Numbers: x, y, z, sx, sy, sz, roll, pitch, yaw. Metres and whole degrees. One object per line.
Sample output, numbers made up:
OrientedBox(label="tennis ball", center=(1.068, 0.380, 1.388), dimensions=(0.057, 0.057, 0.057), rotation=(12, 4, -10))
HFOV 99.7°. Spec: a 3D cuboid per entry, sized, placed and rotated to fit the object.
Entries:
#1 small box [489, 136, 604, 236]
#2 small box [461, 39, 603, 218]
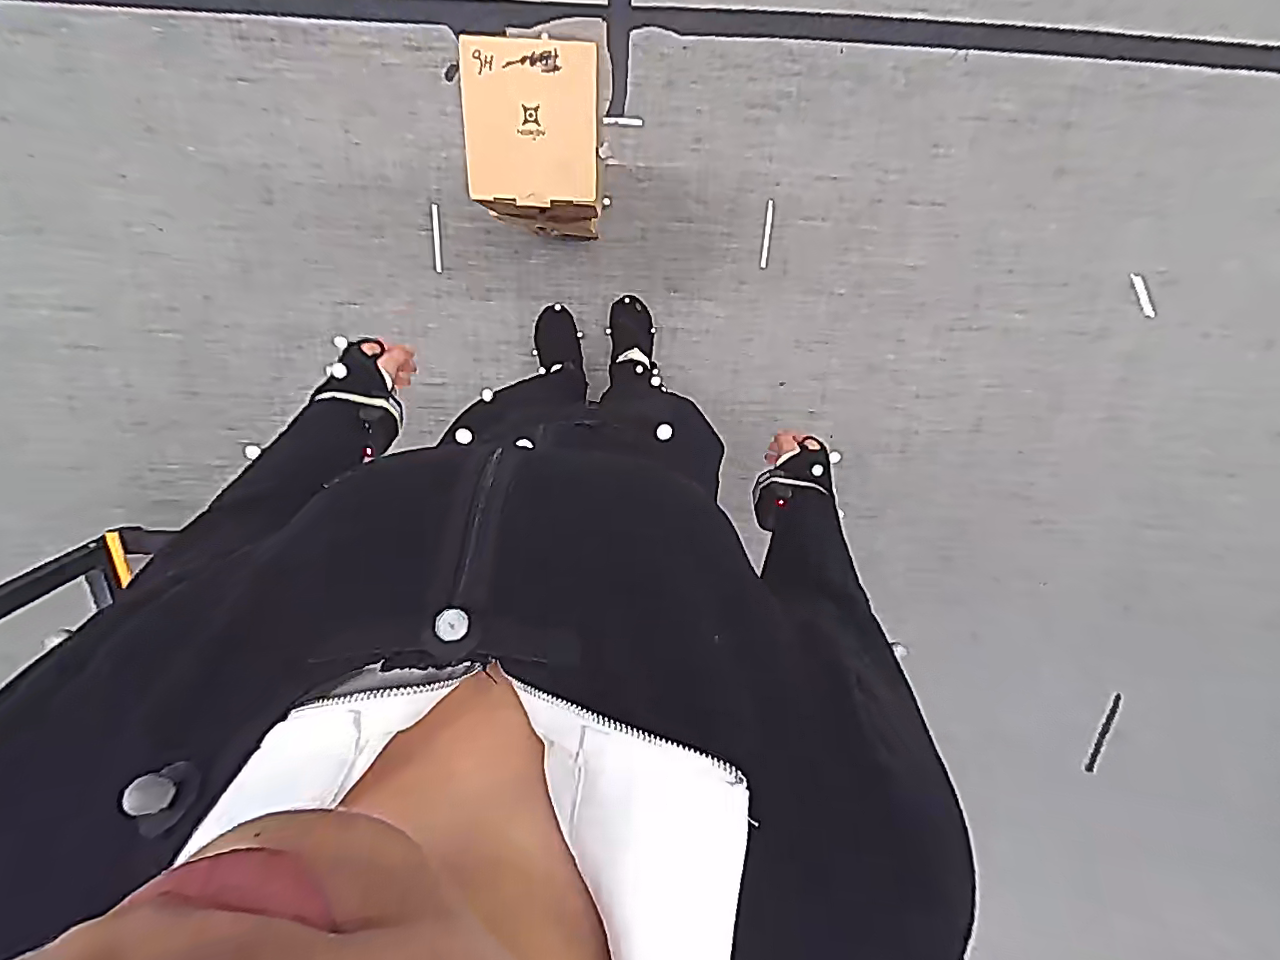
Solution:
OrientedBox(label="small box", center=(-0.150, -0.514, 0.900), dimensions=(0.168, 0.176, 0.179), rotation=(5, 111, -4))
OrientedBox(label="small box", center=(-0.137, -0.465, 0.744), dimensions=(0.168, 0.176, 0.179), rotation=(2, 111, -3))
